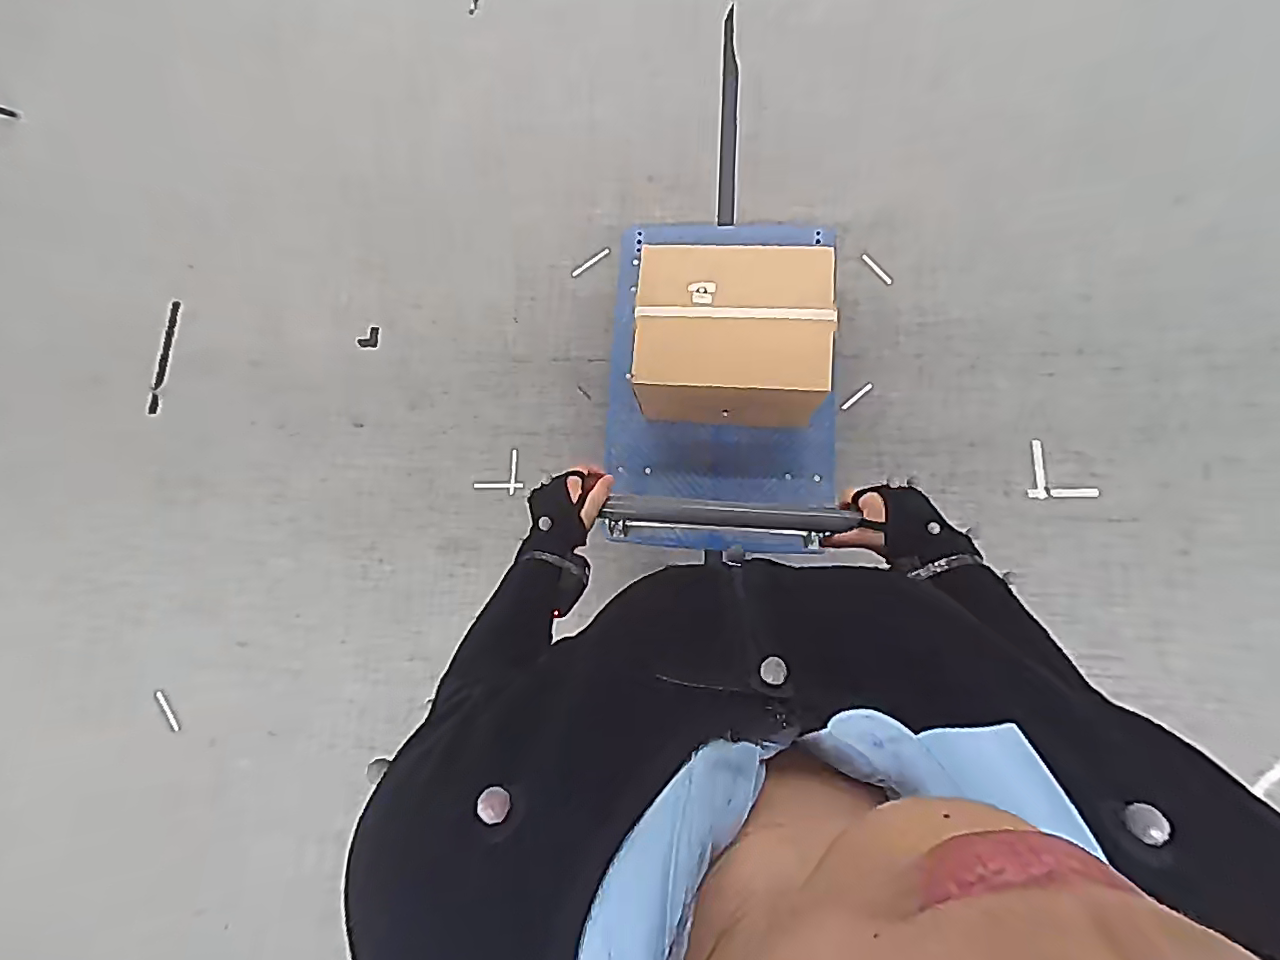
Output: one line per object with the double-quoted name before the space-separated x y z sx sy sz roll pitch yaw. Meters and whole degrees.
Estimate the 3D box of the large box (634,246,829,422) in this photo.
"large box" 0.213 -0.325 1.284 0.408 0.320 0.320 3 81 8
